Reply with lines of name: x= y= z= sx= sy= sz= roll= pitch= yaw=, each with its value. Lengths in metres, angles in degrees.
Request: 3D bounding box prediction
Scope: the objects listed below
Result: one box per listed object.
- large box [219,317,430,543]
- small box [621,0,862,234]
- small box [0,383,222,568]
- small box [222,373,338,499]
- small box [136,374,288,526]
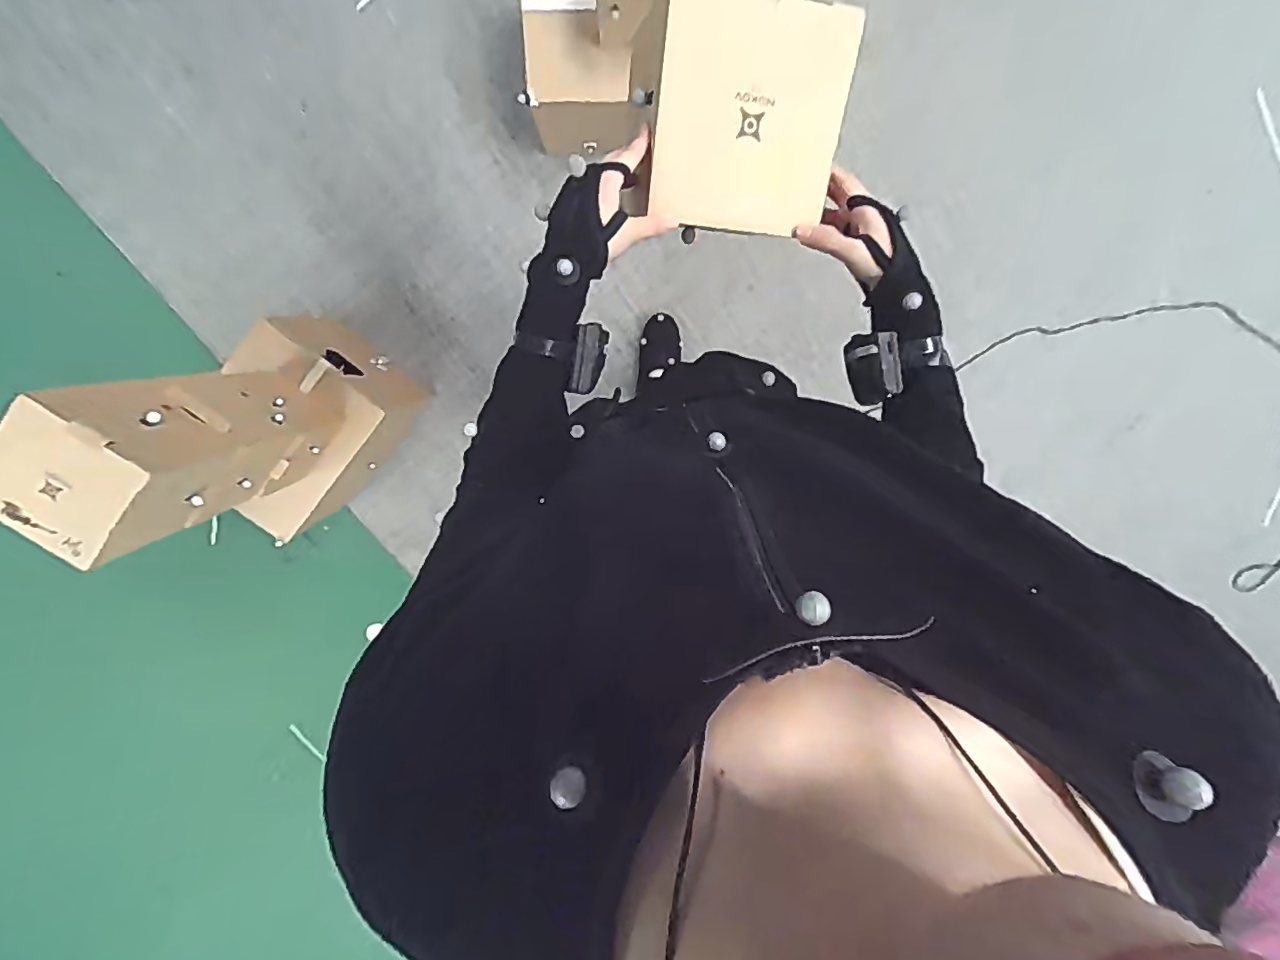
large box: x=-0.788 y=-0.136 z=1.303 sx=0.320 sy=0.320 sz=0.408 roll=40 pitch=101 yaw=-10
small box: x=0.077 y=-0.344 z=0.523 sx=0.168 sy=0.176 sz=0.179 roll=1 pitch=114 yaw=-12
small box: x=-0.733 y=-0.018 z=0.744 sx=0.168 sy=0.176 sz=0.179 roll=40 pitch=98 yaw=-11
small box: x=-0.742 y=-0.097 z=1.063 sx=0.179 sy=0.176 sz=0.168 roll=41 pitch=99 yaw=-11
small box: x=-0.736 y=-0.060 z=0.904 sx=0.168 sy=0.176 sz=0.179 roll=39 pitch=100 yaw=-11
